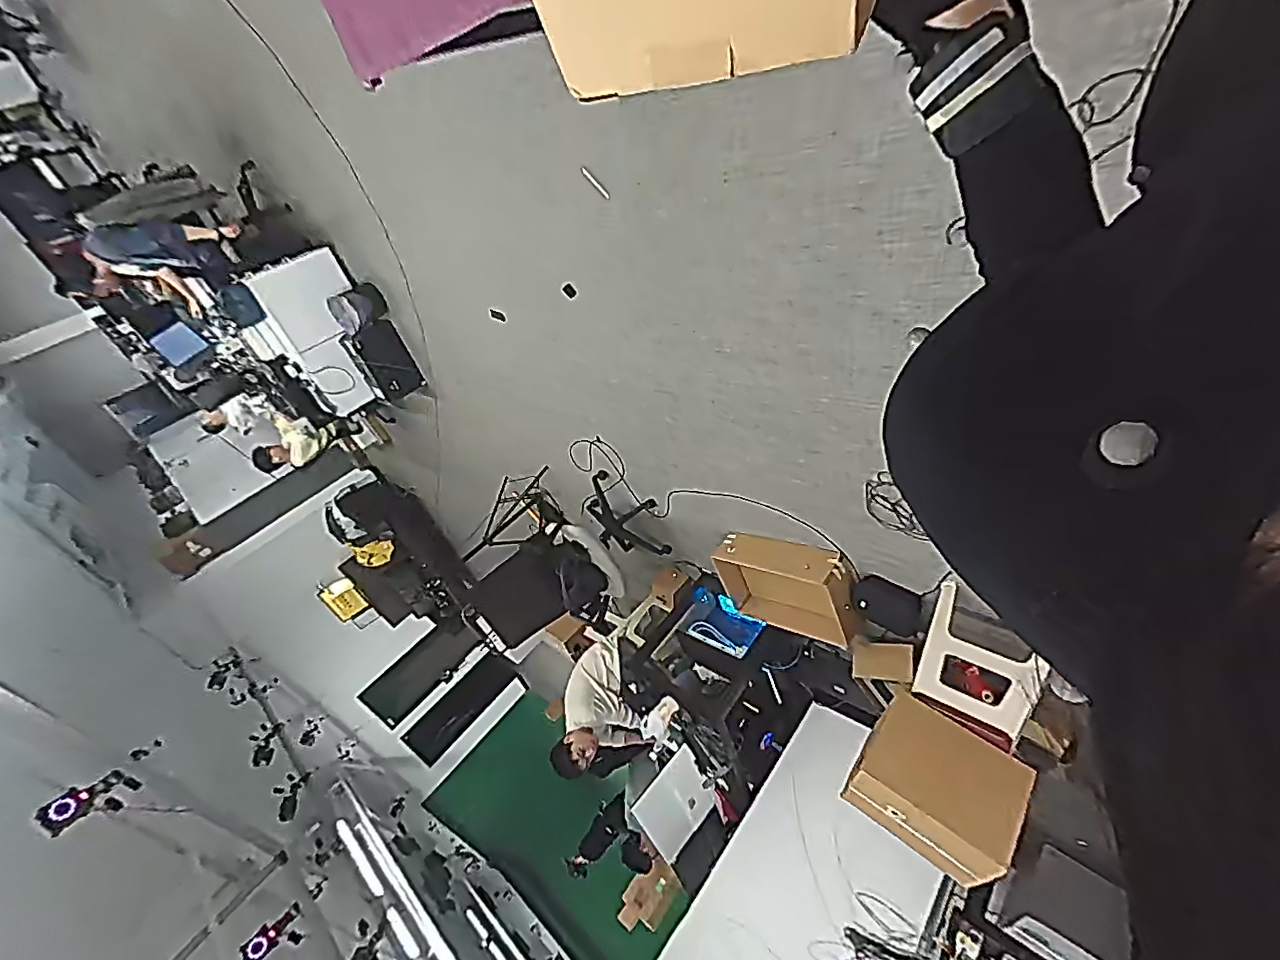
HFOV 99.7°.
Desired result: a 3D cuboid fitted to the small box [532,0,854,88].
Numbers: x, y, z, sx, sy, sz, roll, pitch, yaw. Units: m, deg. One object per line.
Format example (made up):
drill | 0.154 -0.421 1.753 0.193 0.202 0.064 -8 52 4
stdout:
small box | 0.022 -0.327 0.242 0.168 0.179 0.176 12 158 26
